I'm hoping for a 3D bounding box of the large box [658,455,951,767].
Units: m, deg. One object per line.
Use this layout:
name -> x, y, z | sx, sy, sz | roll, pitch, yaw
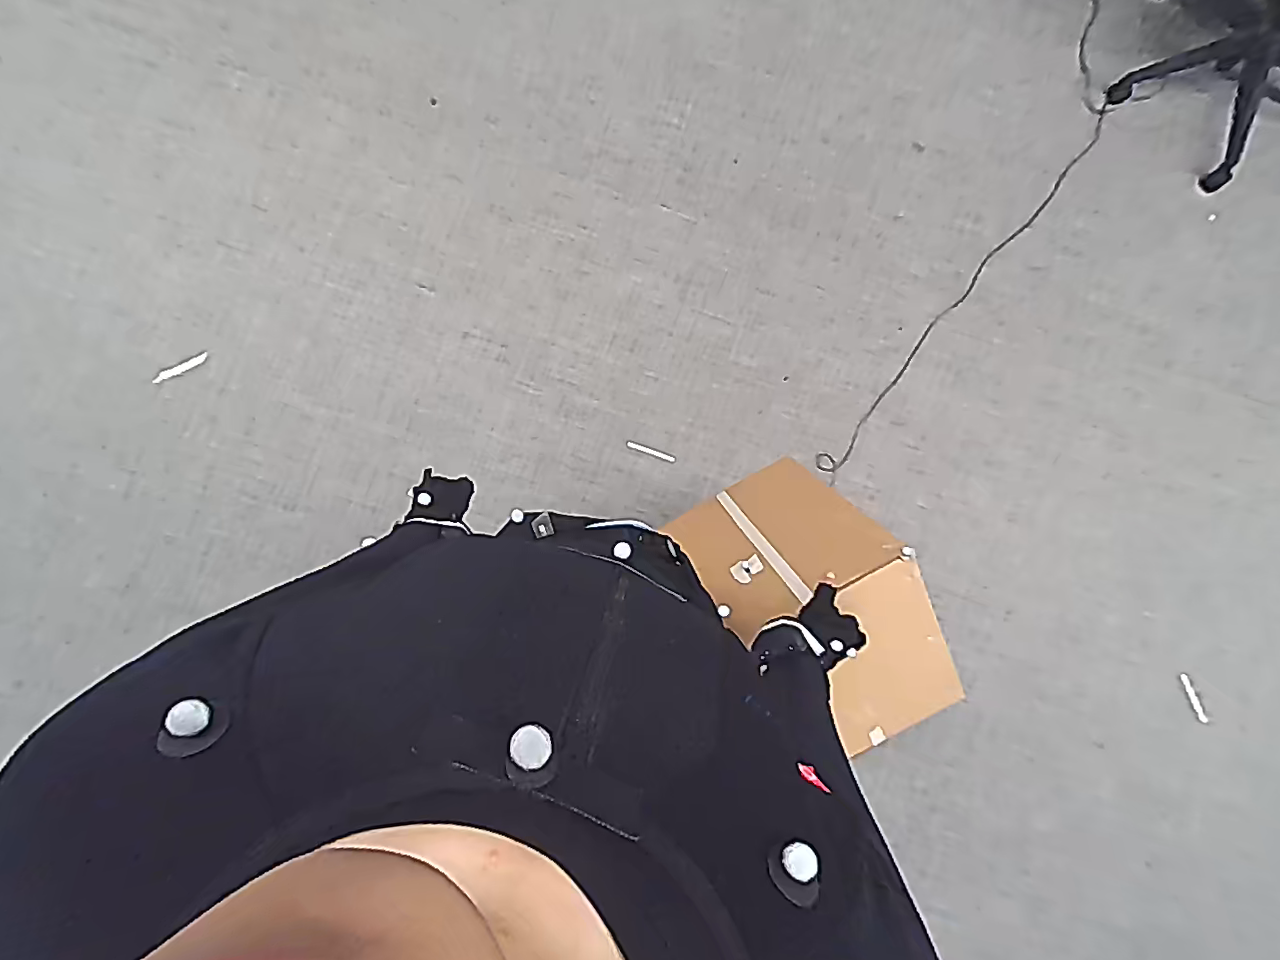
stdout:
large box -> 0.273, 0.212, 0.994 | 0.320, 0.408, 0.320 | -31, 115, 2
